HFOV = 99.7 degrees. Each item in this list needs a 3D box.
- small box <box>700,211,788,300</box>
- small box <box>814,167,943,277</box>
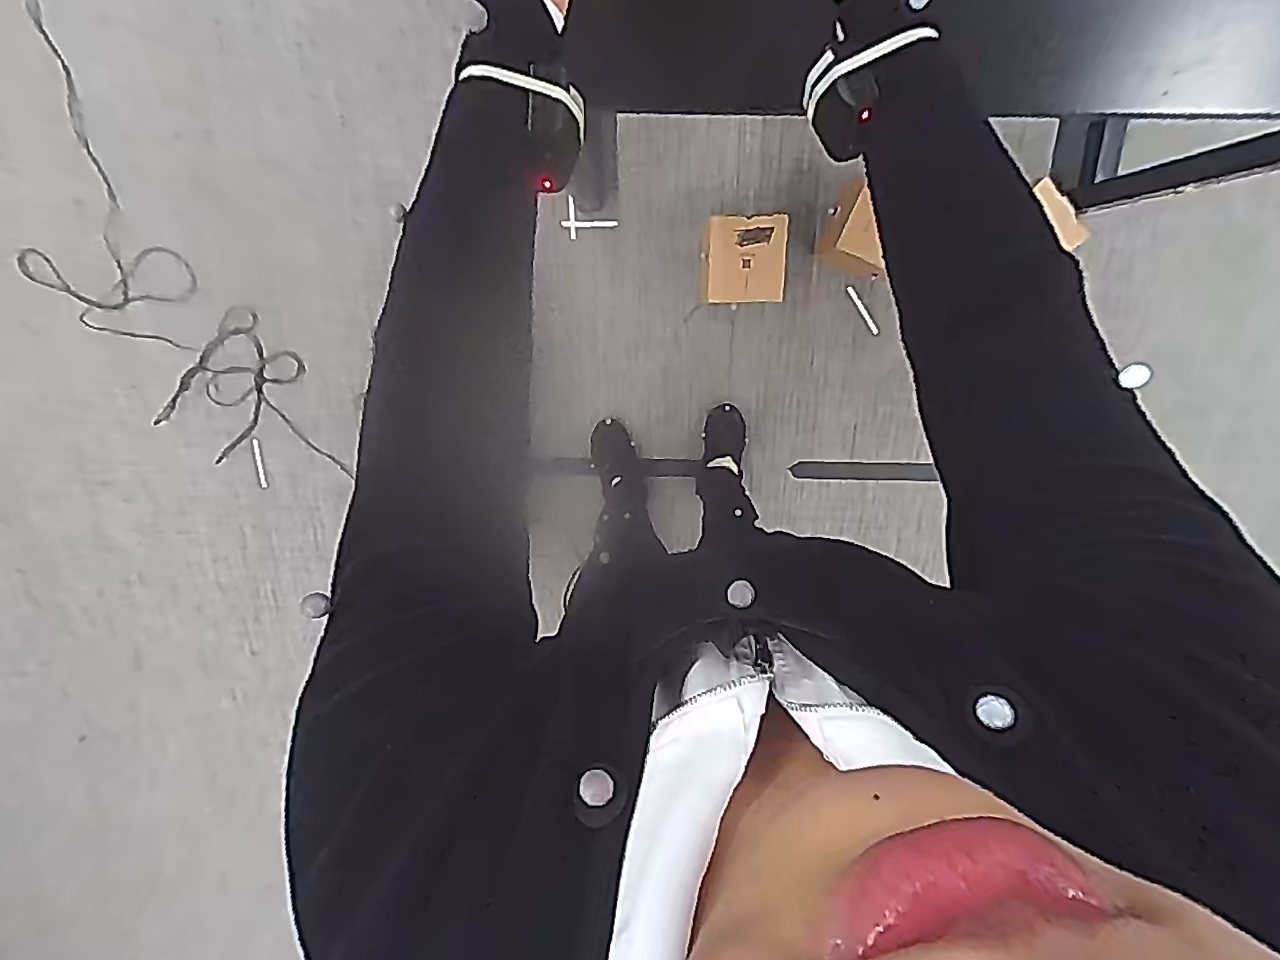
[{"bbox_3d":[0.228,-0.503,1.231,0.168,0.176,0.179,-1,109,1],"label":"small box"},{"bbox_3d":[0.522,-0.566,1.211,0.179,0.176,0.168,21,106,-5],"label":"small box"}]
